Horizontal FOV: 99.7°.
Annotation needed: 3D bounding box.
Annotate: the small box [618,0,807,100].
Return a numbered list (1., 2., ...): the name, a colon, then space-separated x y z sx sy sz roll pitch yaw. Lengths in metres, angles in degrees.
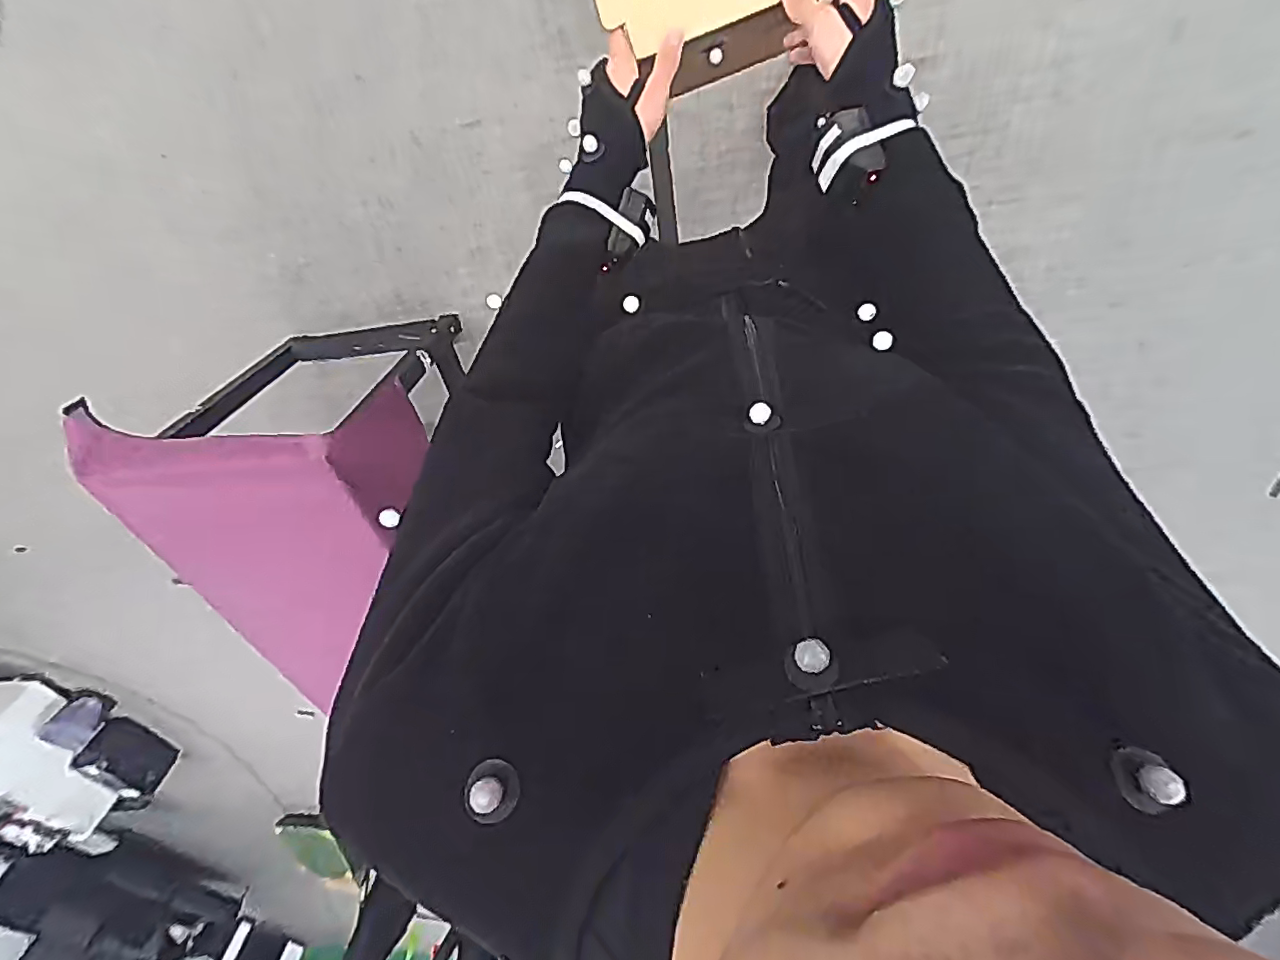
1. small box: 0.059 -0.499 0.514 0.179 0.176 0.168 -16 110 9
